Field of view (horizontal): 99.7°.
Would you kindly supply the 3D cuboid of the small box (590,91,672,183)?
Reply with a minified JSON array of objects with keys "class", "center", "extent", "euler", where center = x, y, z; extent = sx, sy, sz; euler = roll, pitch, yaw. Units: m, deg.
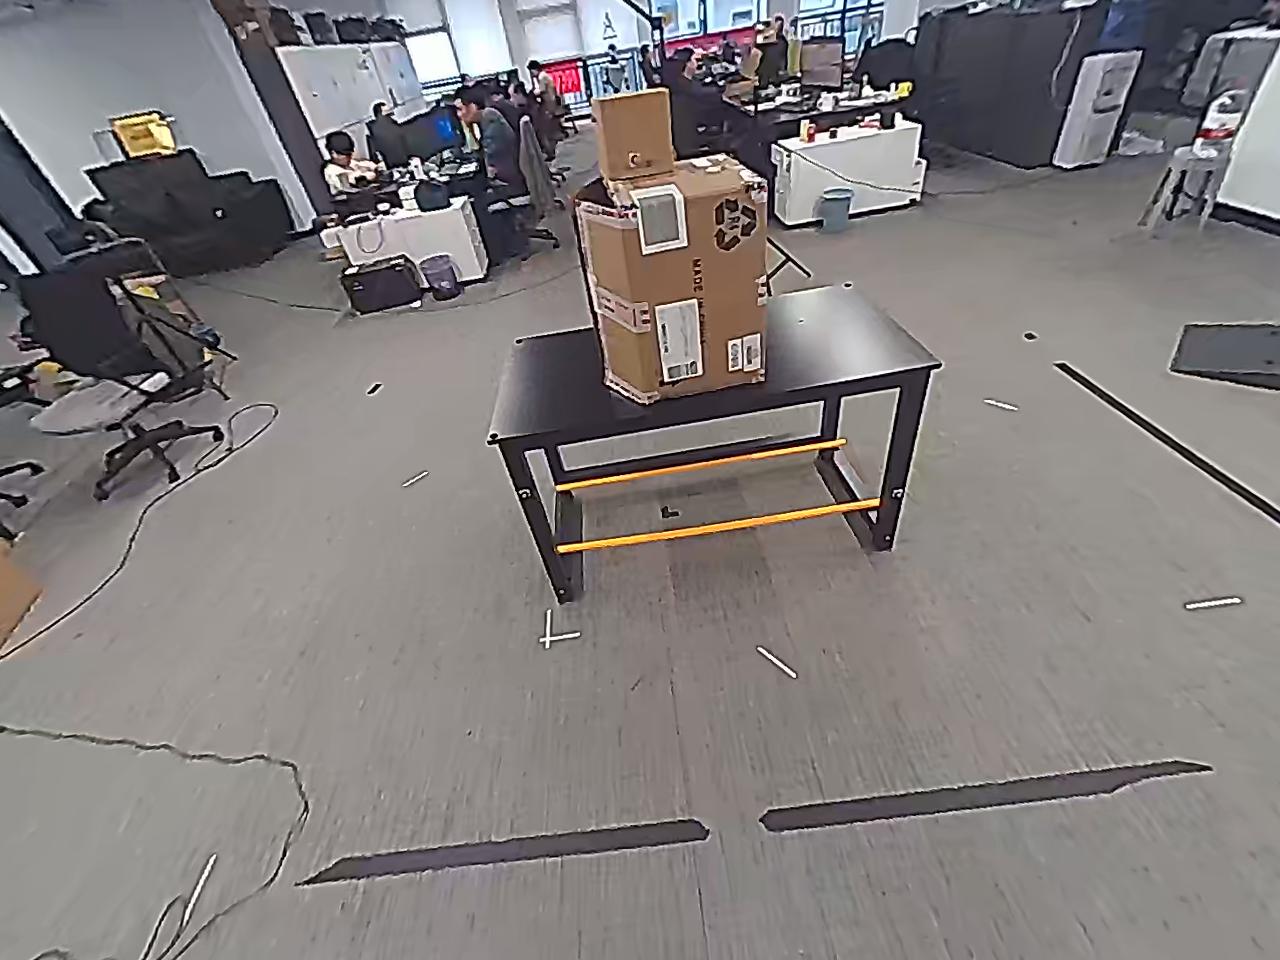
[{"class":"small box","center":[-0.024,-0.850,1.342],"extent":[0.168,0.176,0.179],"euler":[-13,38,-4]}]
